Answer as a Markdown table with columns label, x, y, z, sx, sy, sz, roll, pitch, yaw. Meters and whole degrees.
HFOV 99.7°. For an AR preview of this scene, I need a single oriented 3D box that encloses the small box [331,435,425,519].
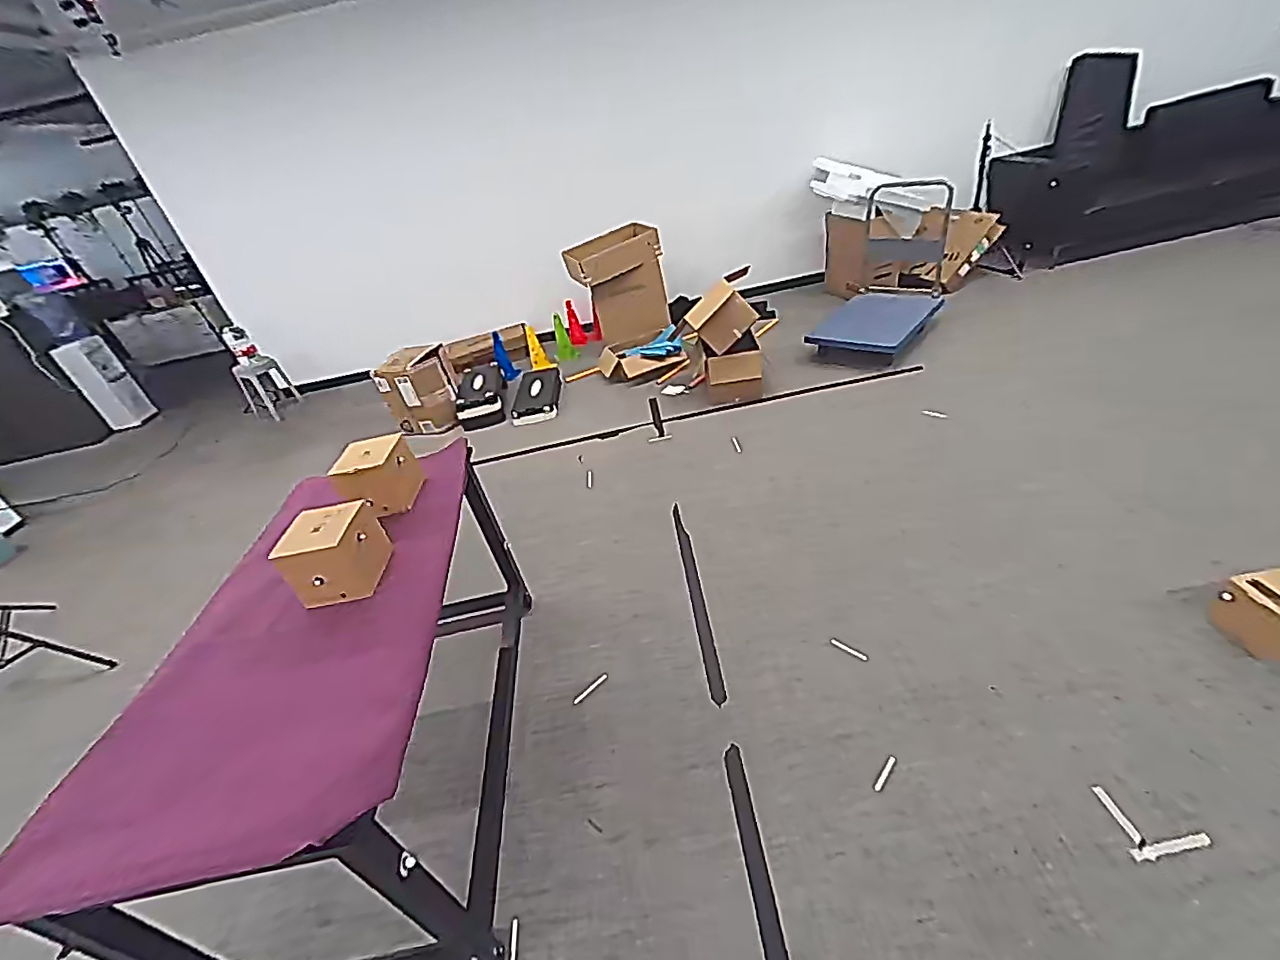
| label | x | y | z | sx | sy | sz | roll | pitch | yaw |
| --- | --- | --- | --- | --- | --- | --- | --- | --- | --- |
| small box | -0.755 | -0.007 | 1.584 | 0.168 | 0.176 | 0.179 | -11 | 35 | 4 |

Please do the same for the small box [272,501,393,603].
| label | x | y | z | sx | sy | sz | roll | pitch | yaw |
| --- | --- | --- | --- | --- | --- | --- | --- | --- | --- |
| small box | -0.727 | 0.179 | 1.305 | 0.168 | 0.176 | 0.179 | -10 | 34 | 3 |
